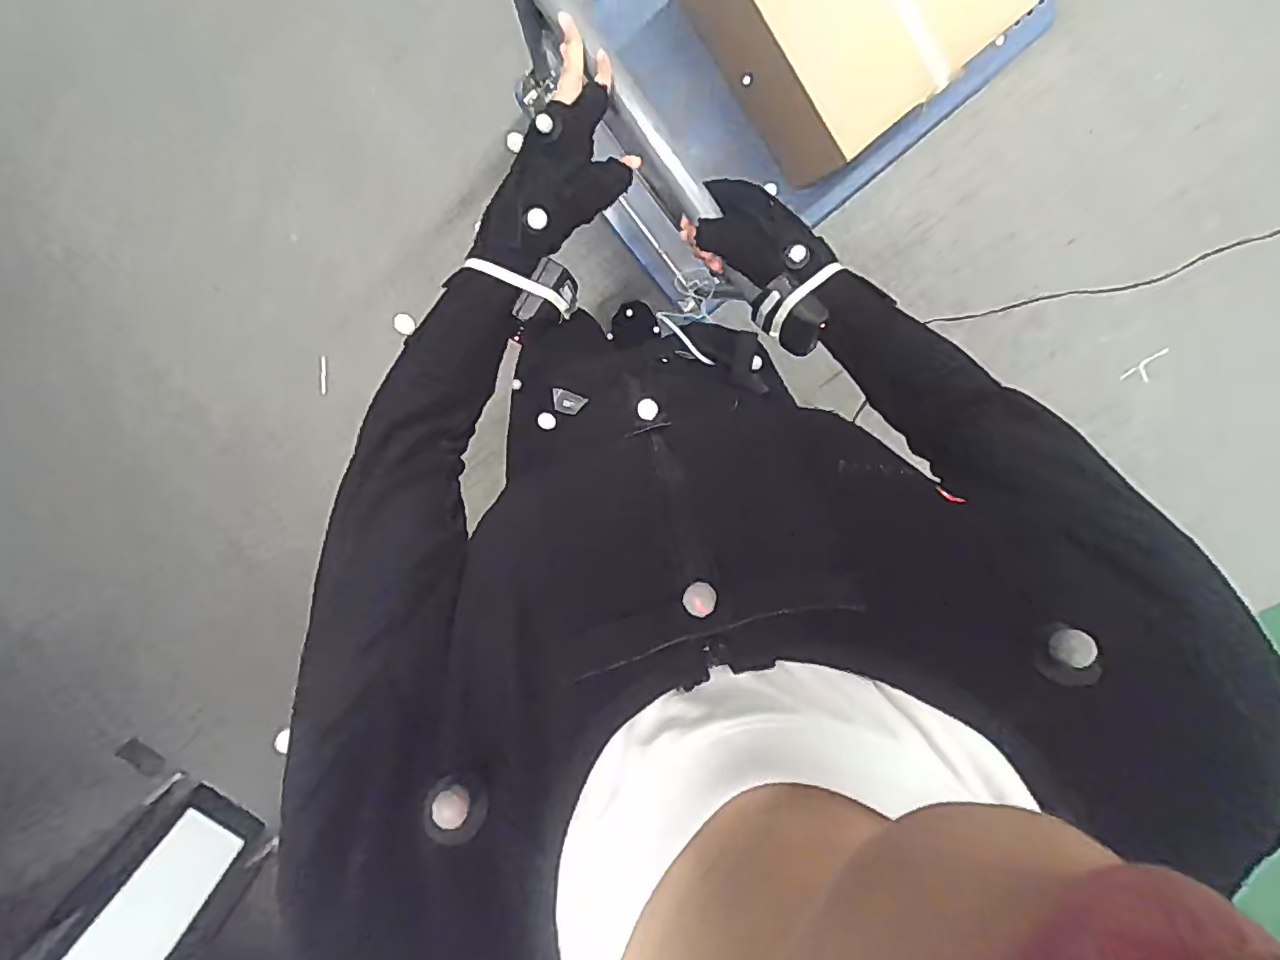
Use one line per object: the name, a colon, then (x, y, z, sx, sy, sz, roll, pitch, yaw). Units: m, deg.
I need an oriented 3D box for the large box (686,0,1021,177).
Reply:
large box: (0.311, -0.786, 0.870, 0.320, 0.320, 0.408, -37, 105, 13)
